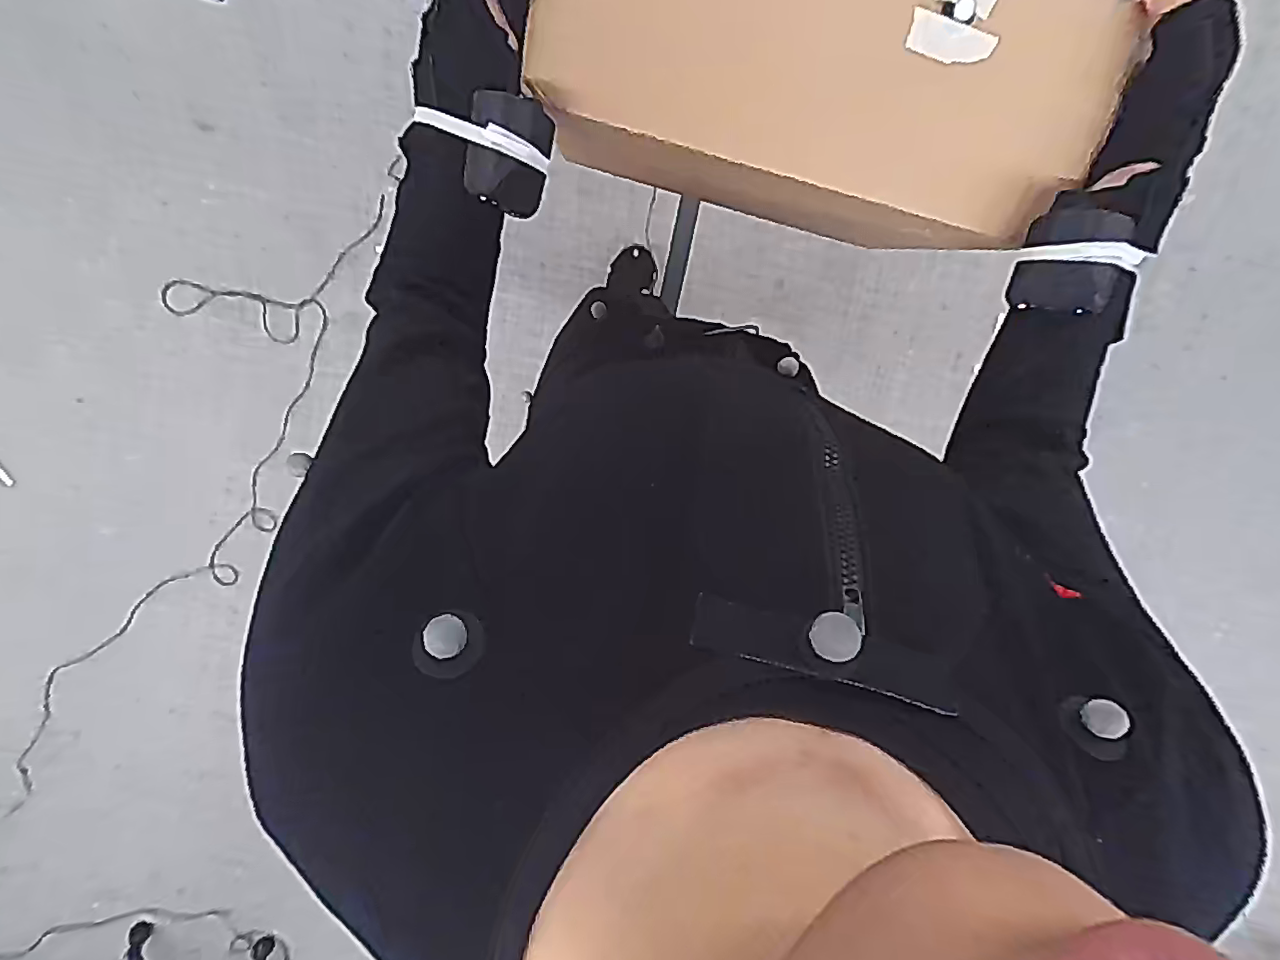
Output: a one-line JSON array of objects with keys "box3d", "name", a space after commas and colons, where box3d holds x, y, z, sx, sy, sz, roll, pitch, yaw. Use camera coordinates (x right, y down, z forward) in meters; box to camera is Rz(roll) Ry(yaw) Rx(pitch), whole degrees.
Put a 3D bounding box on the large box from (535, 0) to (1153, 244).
[{"box3d": [0.143, -0.416, 0.476, 0.408, 0.320, 0.320, 11, 114, -8], "name": "large box"}]
